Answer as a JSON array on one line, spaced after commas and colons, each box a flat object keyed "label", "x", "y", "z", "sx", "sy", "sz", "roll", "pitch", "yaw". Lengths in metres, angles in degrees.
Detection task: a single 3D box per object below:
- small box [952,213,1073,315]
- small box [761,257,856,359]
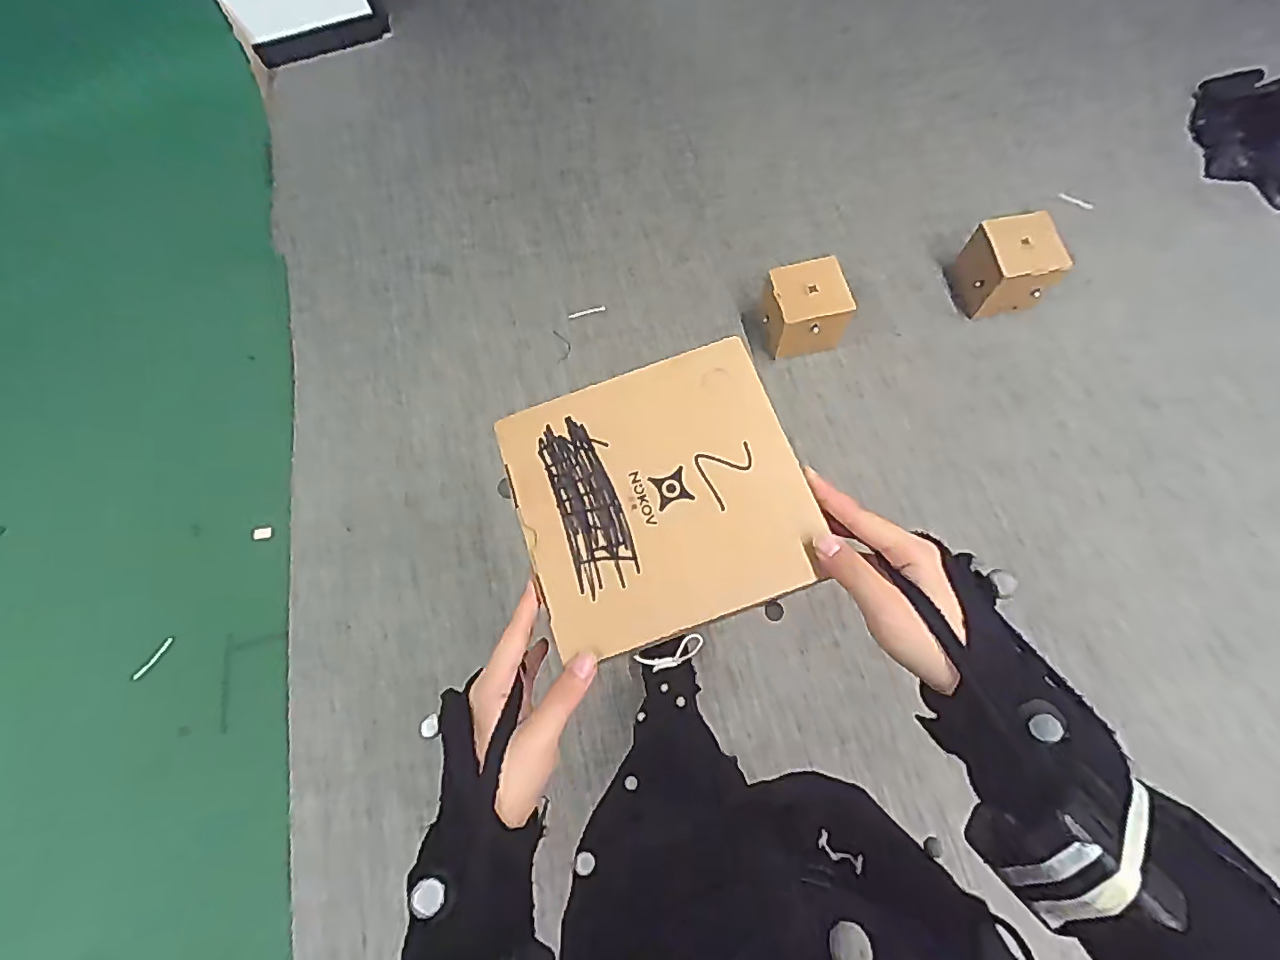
[{"label": "small box", "x": 0.936, "y": -0.538, "z": 1.376, "sx": 0.168, "sy": 0.176, "sz": 0.179, "roll": -8, "pitch": 69, "yaw": 1}, {"label": "small box", "x": 0.423, "y": -0.434, "z": 1.385, "sx": 0.179, "sy": 0.176, "sz": 0.168, "roll": -12, "pitch": 70, "yaw": 1}]
